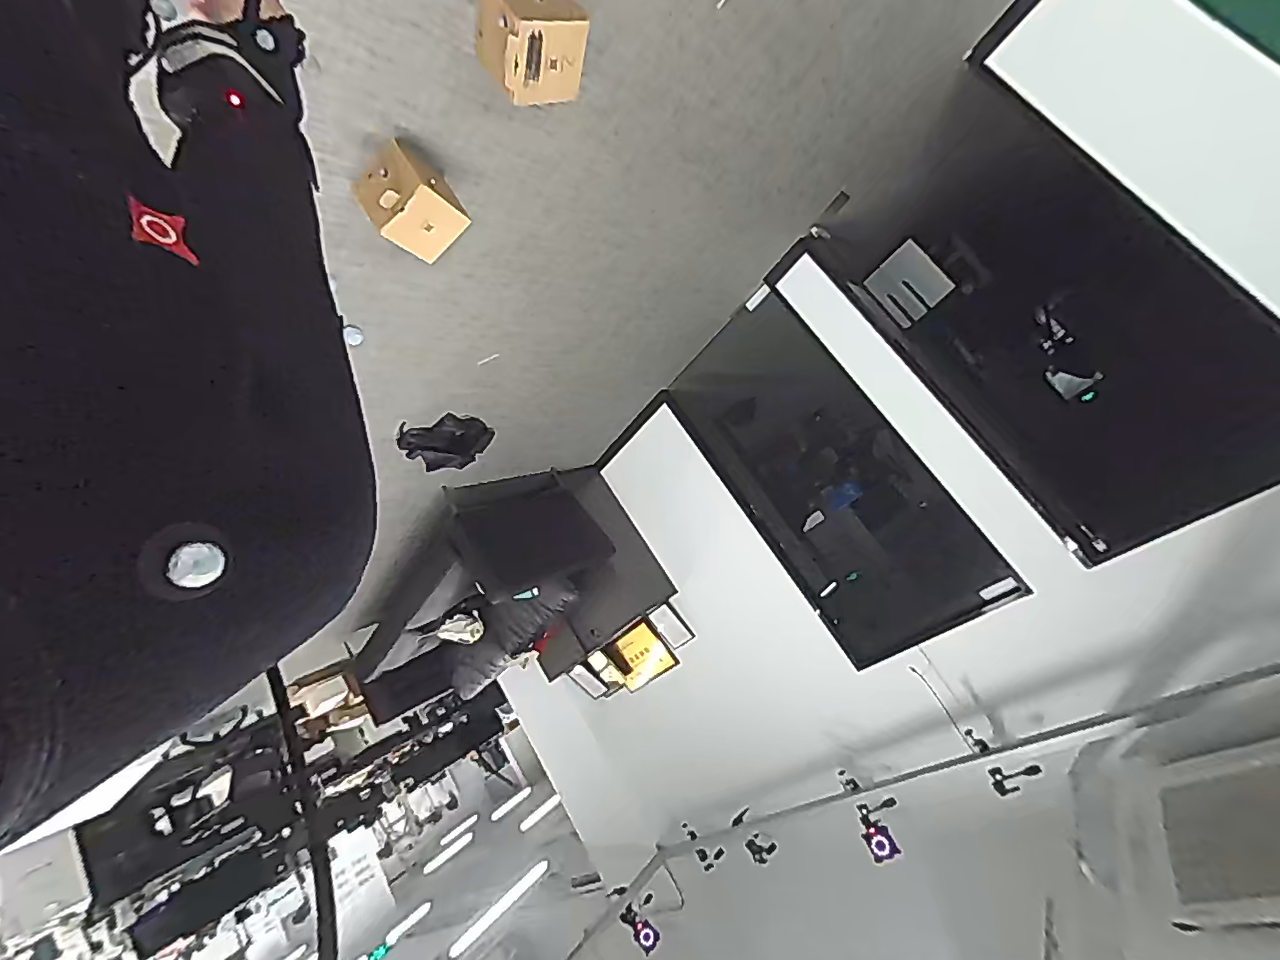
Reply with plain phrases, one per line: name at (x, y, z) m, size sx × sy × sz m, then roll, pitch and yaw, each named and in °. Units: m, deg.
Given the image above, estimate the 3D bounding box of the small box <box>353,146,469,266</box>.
small box at (-0.574, -0.687, 1.360) m, size 0.168 × 0.176 × 0.179 m, roll -37°, pitch 165°, yaw 15°
